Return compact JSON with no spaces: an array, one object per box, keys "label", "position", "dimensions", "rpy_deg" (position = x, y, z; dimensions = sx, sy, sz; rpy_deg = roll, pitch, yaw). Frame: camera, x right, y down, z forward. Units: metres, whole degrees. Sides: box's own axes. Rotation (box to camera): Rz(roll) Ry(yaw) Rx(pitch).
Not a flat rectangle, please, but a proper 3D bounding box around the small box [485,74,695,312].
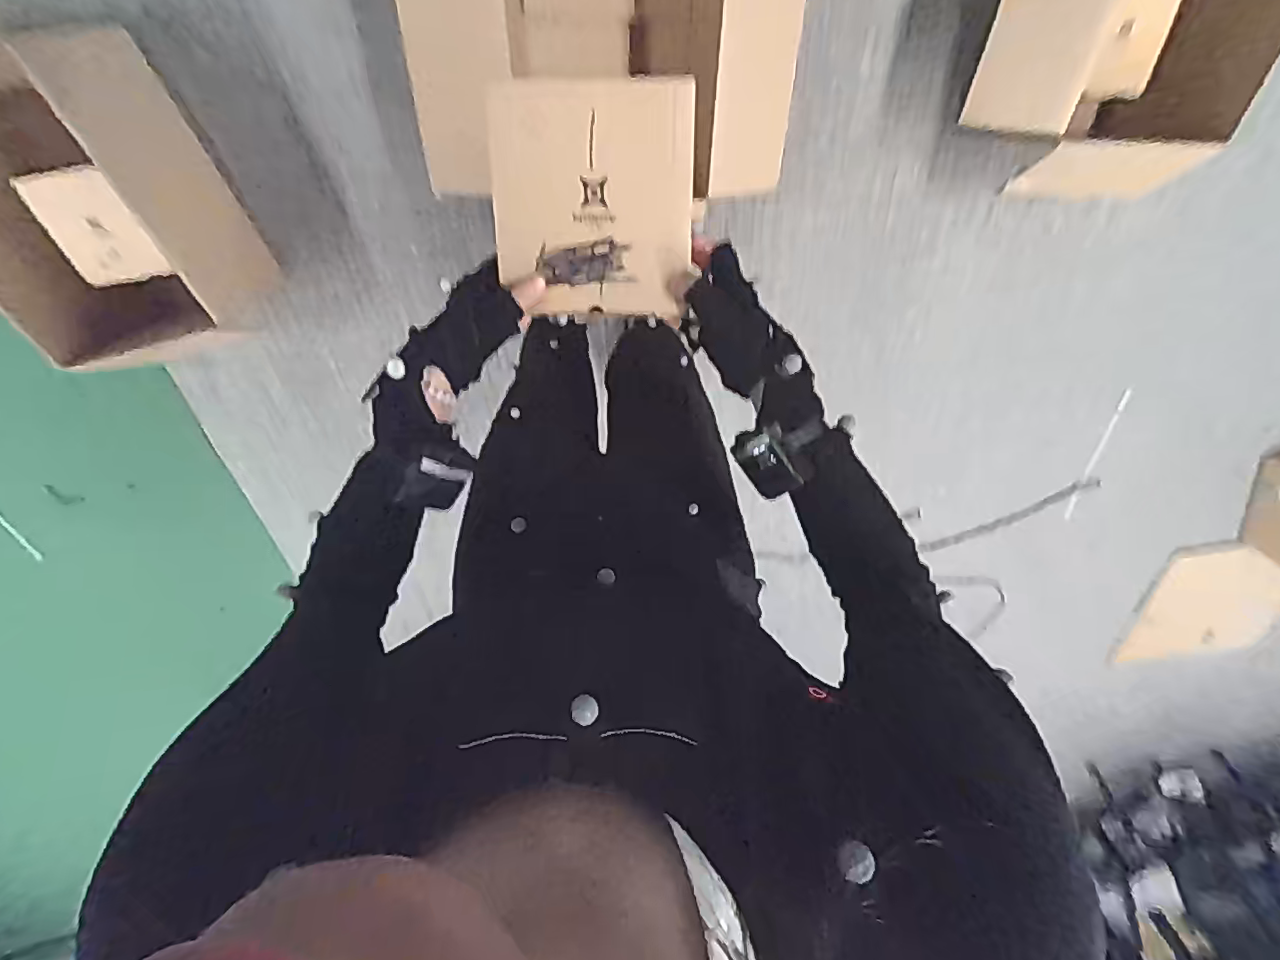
[{"label":"small box","position":[-0.038,-0.259,0.520],"dimensions":[0.168,0.176,0.179],"rpy_deg":[0,110,0]}]
